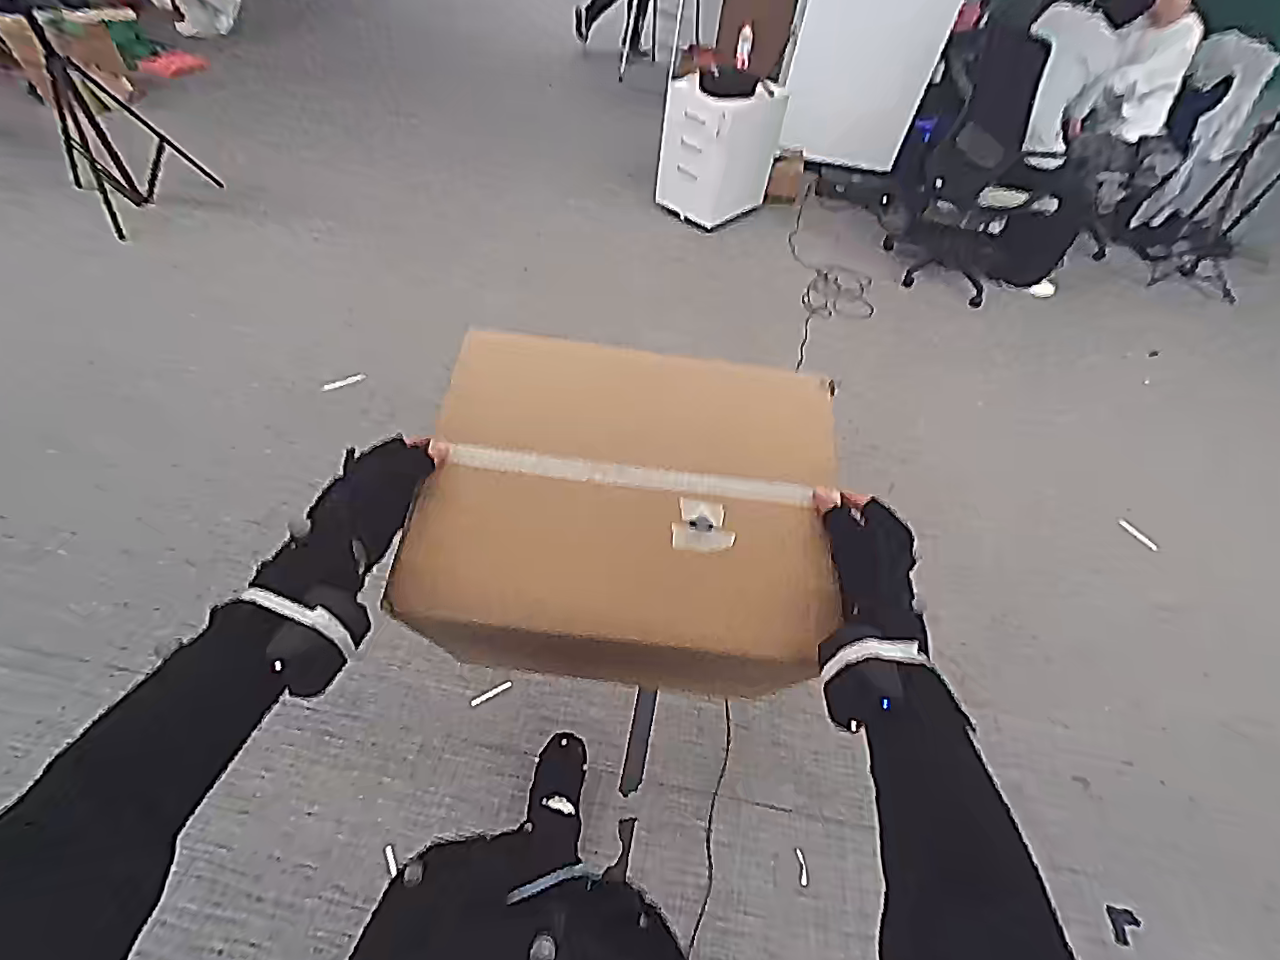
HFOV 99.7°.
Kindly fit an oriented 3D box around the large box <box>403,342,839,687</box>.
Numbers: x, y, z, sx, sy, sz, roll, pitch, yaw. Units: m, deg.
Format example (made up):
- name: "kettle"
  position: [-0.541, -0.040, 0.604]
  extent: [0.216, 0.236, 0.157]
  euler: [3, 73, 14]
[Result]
- name: "large box"
  position: [-0.017, 0.066, 0.682]
  extent: [0.408, 0.320, 0.320]
  euler: [7, 63, -2]
